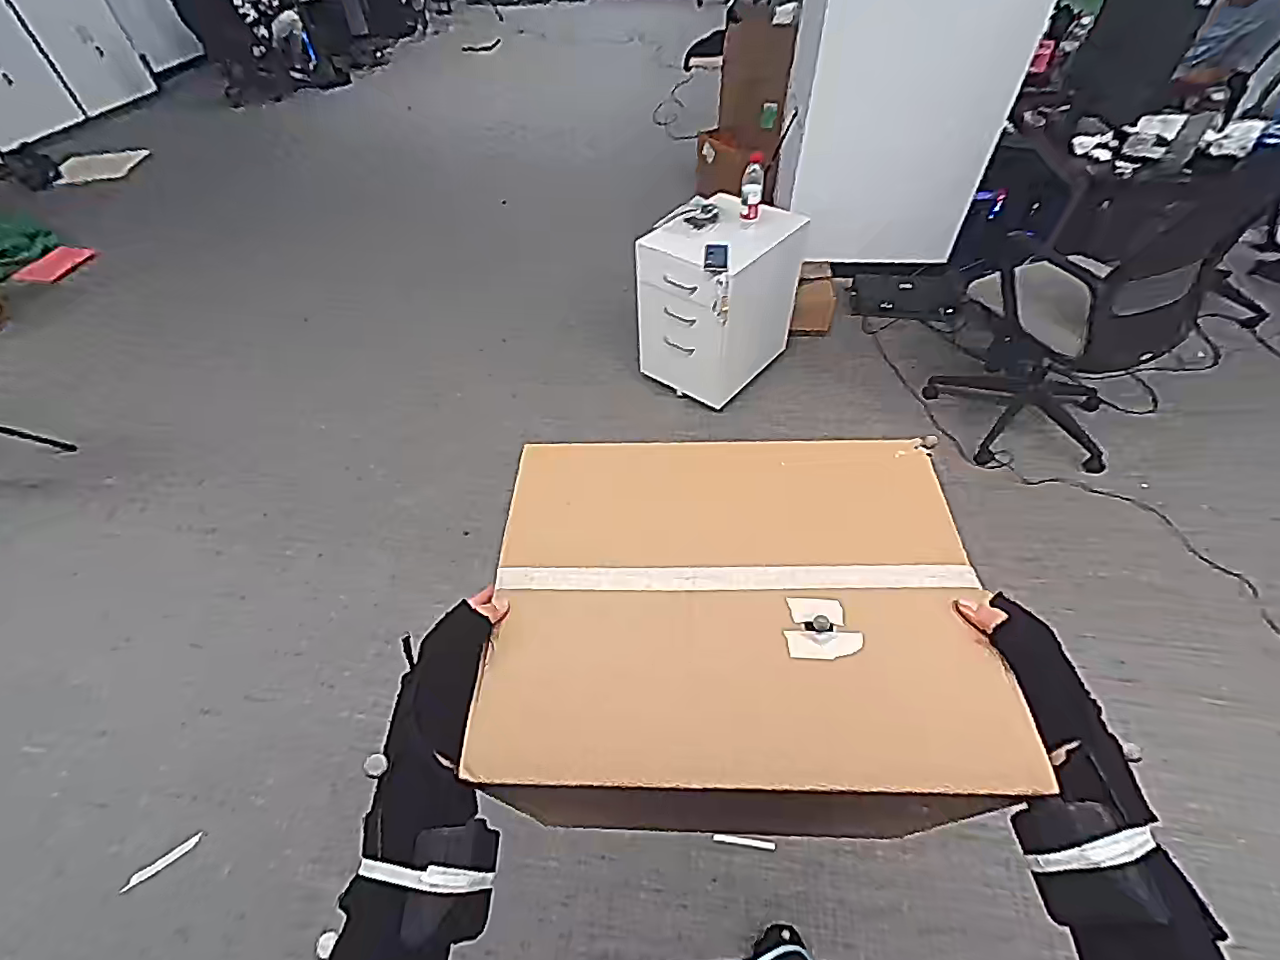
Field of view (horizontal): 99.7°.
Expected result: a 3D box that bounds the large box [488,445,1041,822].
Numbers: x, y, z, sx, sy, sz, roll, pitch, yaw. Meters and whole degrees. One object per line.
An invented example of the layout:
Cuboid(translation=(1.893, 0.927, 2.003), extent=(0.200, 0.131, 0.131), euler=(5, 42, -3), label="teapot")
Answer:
Cuboid(translation=(0.093, 0.178, 0.592), extent=(0.408, 0.320, 0.320), euler=(0, 53, 3), label="large box")
